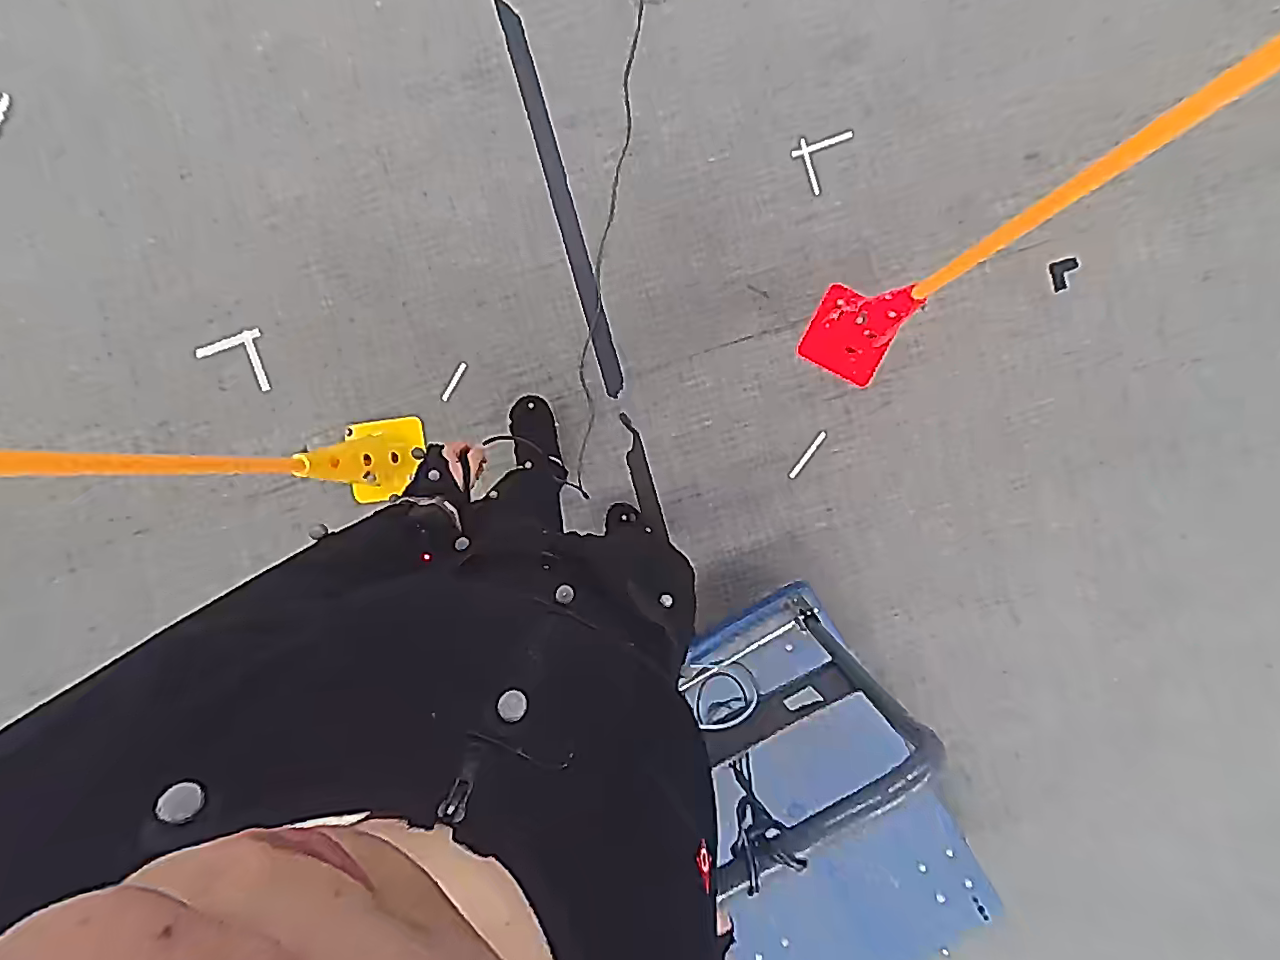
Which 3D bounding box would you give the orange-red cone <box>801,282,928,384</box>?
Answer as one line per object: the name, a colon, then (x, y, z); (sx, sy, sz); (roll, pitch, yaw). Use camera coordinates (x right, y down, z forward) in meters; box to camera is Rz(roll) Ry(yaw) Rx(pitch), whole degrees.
orange-red cone: (0.509, -0.346, 1.146); (0.198, 0.360, 0.199); (29, 94, 1)
